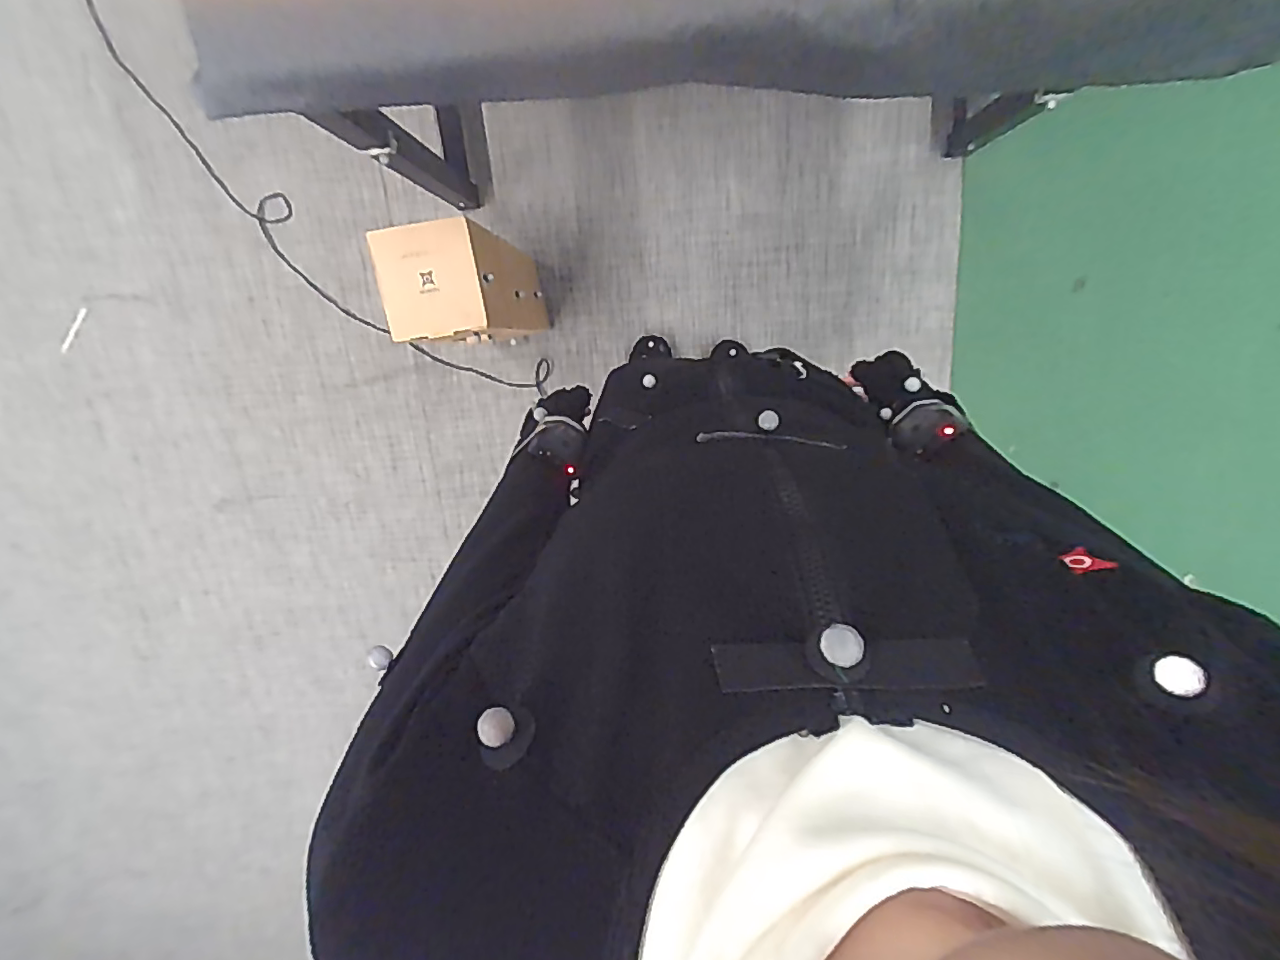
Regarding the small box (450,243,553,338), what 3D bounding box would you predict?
[{"bbox_3d":[-0.315,-0.434,1.263,0.168,0.176,0.179,-11,105,6],"label":"small box"}]
